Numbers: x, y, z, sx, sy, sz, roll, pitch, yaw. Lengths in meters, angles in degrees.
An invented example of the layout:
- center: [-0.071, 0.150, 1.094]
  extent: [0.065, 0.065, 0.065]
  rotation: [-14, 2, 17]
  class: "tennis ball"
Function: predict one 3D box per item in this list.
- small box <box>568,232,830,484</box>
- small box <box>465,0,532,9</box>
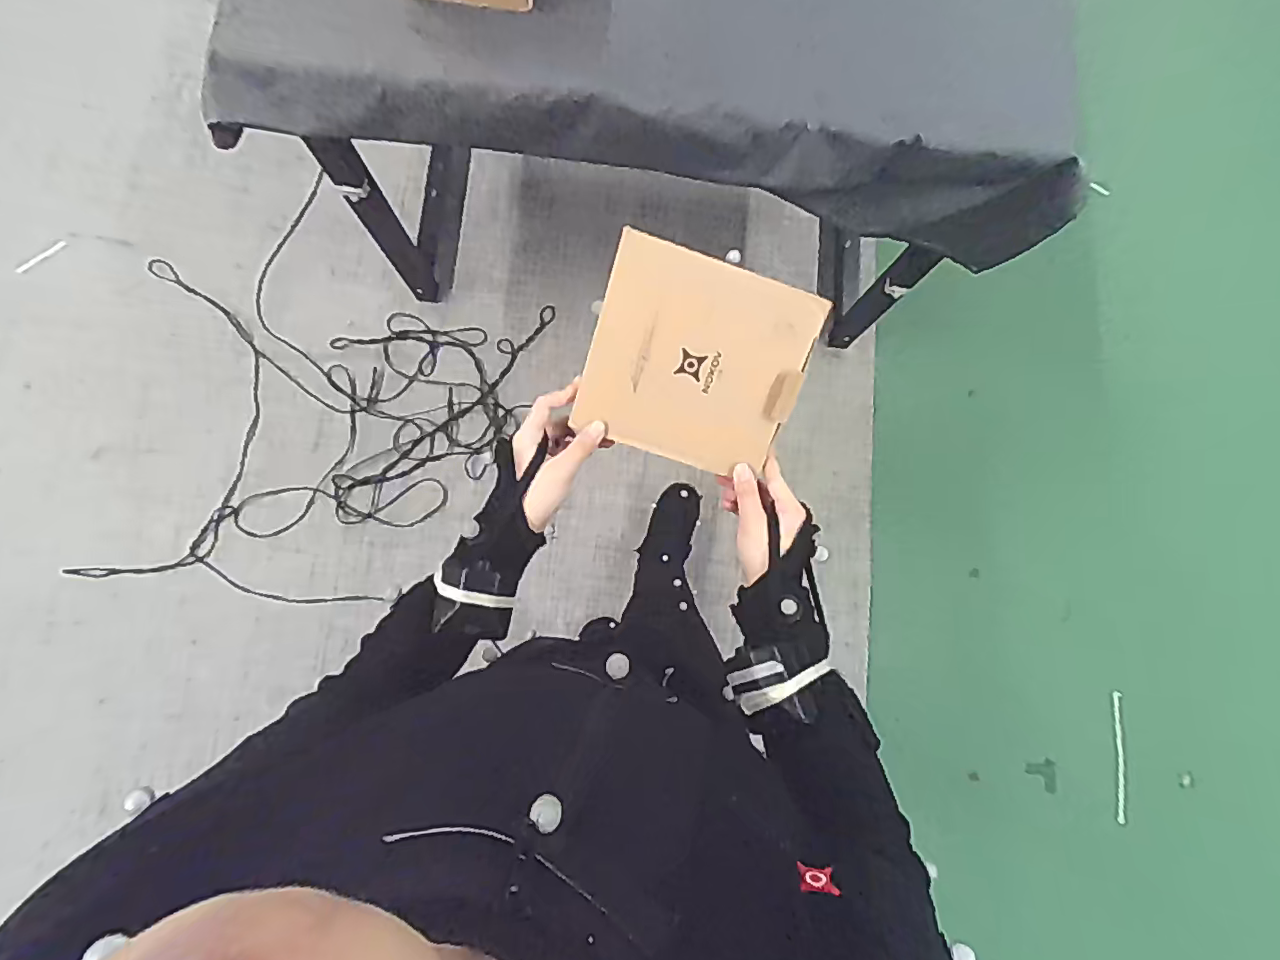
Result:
- center: [0.046, -0.118, 0.518]
  extent: [0.179, 0.176, 0.168]
  rotation: [17, 107, -3]
  class: "small box"
- center: [-0.229, -0.755, 0.689]
  extent: [0.179, 0.176, 0.168]
  rotation: [4, 80, -3]
  class: "small box"
